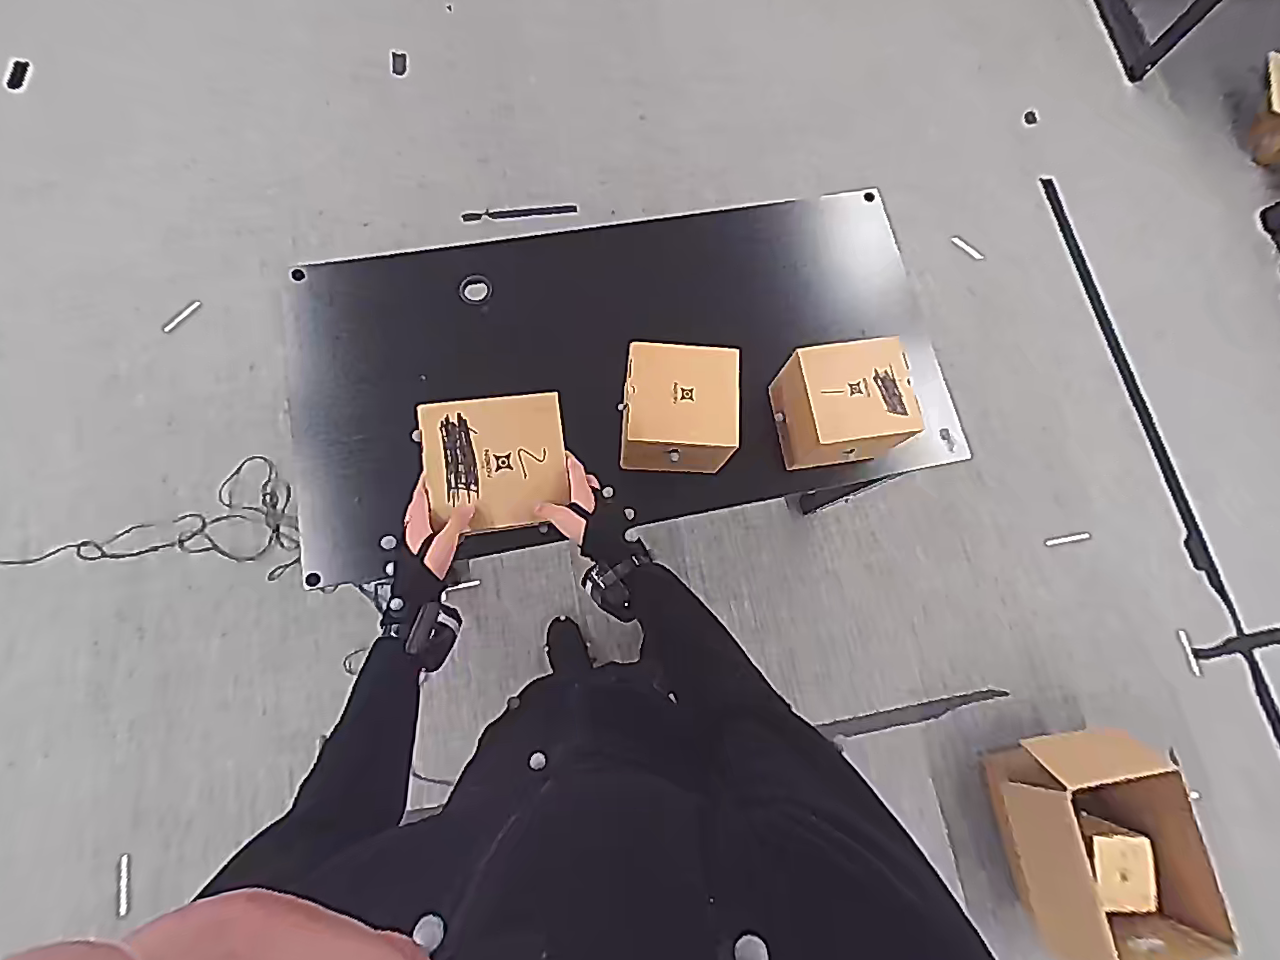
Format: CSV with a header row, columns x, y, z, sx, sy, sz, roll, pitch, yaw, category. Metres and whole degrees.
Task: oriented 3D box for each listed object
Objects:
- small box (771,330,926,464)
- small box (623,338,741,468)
x,y,z,sx,sy,sz,roll,pitch,yaw,category
0.344,-0.134,0.925,0.179,0.176,0.168,-9,78,-4,small box
0.064,-0.121,0.908,0.179,0.176,0.168,2,77,-2,small box
